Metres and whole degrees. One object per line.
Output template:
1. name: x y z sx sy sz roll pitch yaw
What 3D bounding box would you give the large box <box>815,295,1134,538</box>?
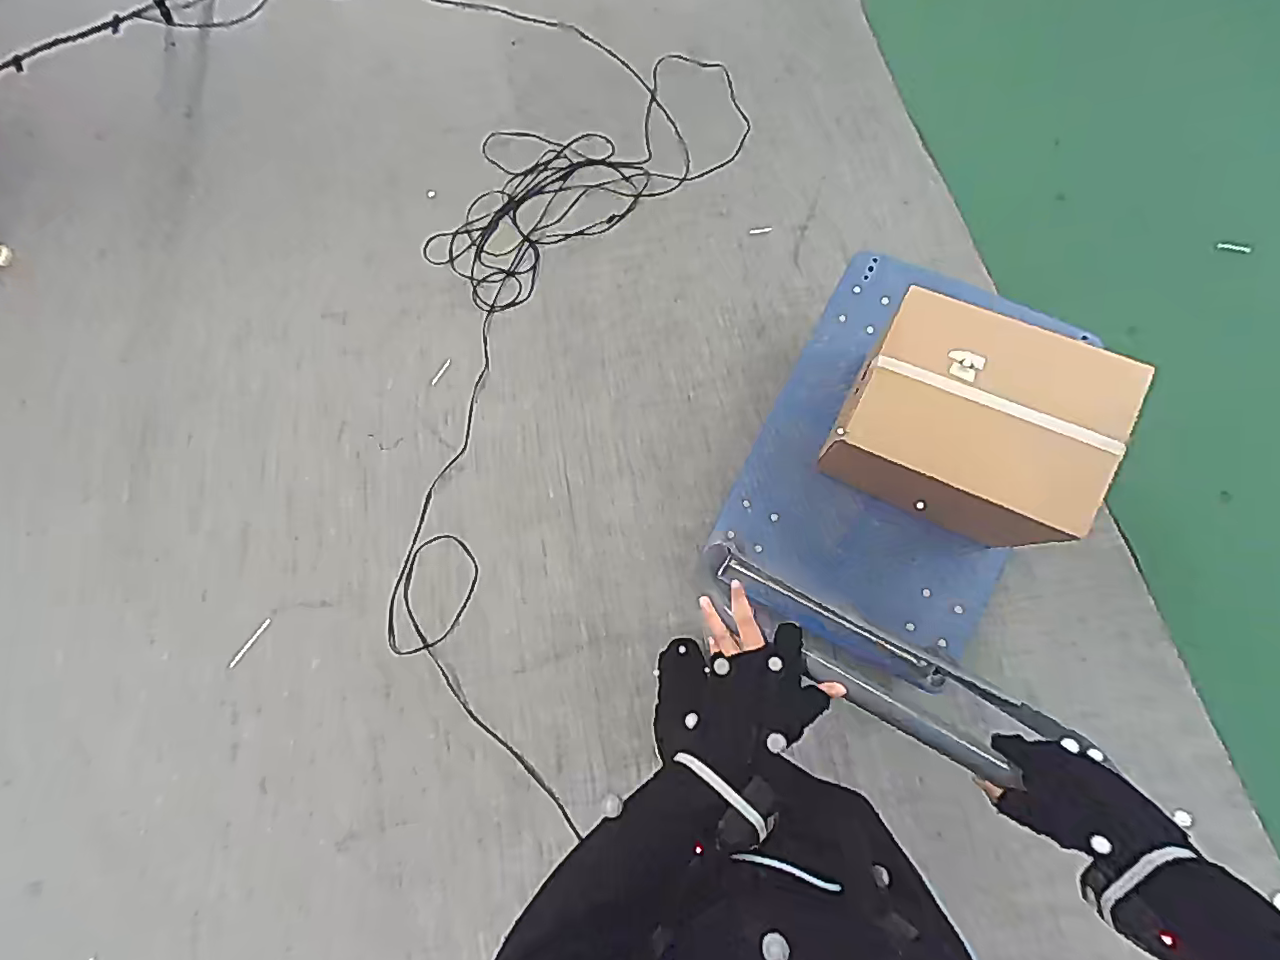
1. large box: 0.613 -0.104 1.075 0.408 0.320 0.320 24 85 13
